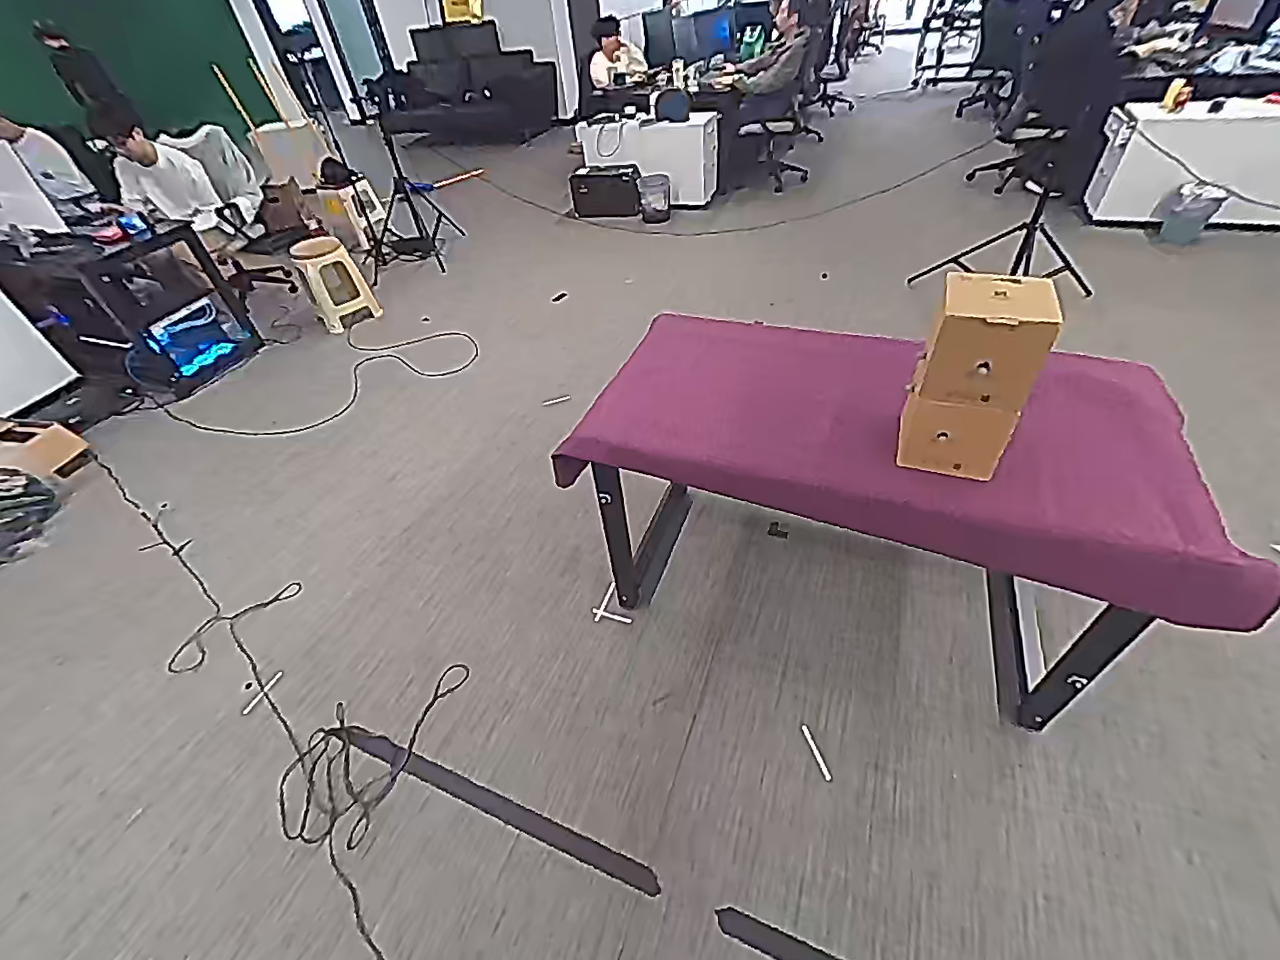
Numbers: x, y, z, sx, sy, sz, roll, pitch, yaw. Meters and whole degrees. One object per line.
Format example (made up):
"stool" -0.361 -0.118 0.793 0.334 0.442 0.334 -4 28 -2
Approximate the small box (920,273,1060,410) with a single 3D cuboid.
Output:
"small box" 0.610 -0.246 0.961 0.168 0.176 0.179 13 47 20

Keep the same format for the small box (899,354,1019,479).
"small box" 0.622 -0.125 1.071 0.168 0.176 0.179 12 46 19
